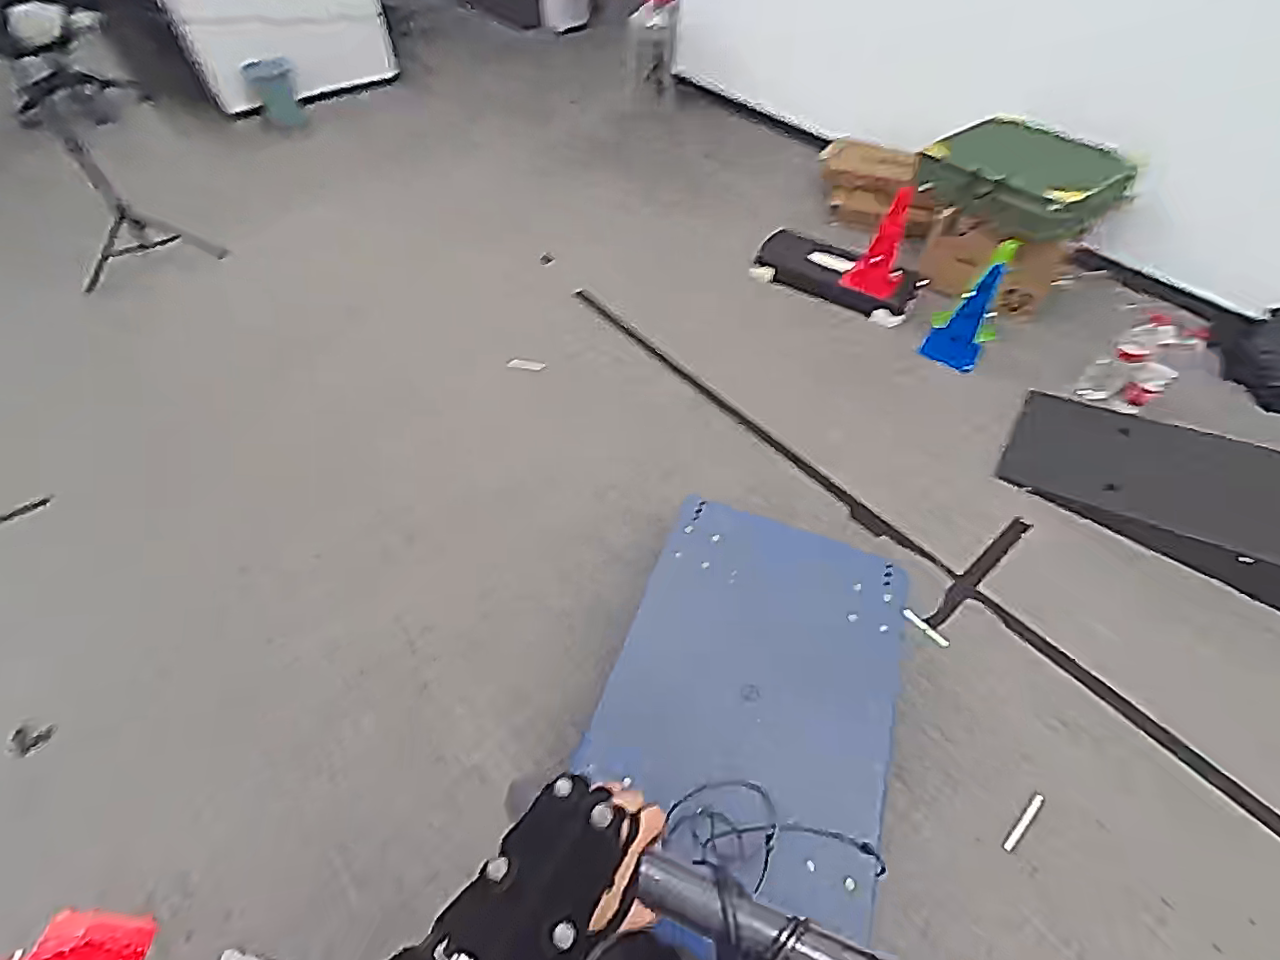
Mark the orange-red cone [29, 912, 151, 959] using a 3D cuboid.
[{"bbox_3d":[-0.998,0.796,0.817,0.199,0.360,0.198,6,54,1],"label":"orange-red cone"}]
